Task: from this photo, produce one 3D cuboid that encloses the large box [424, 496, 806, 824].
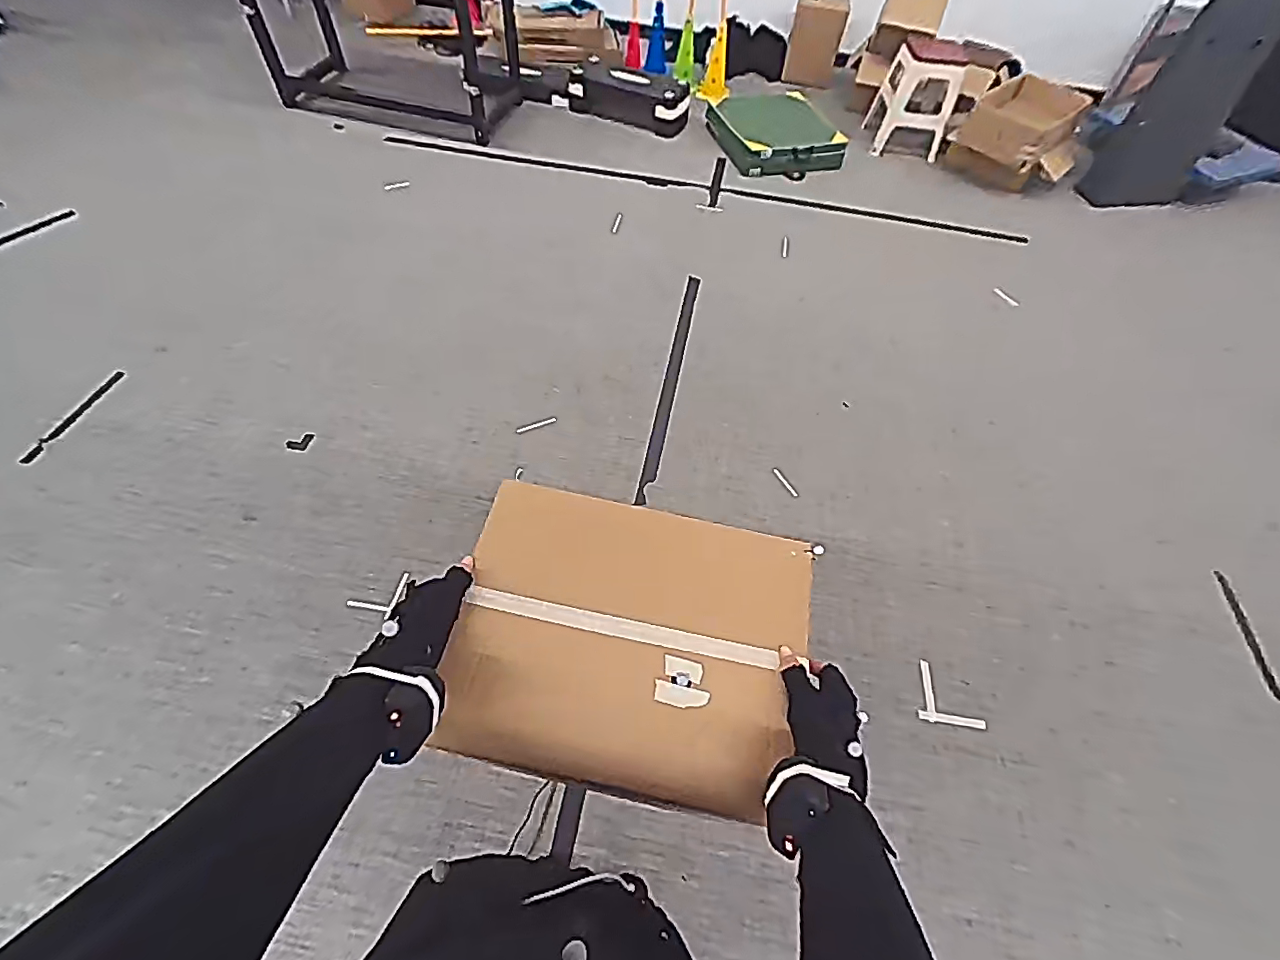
[{"bbox_3d":[-0.019,0.261,0.758,0.408,0.320,0.320,12,60,2],"label":"large box"}]
